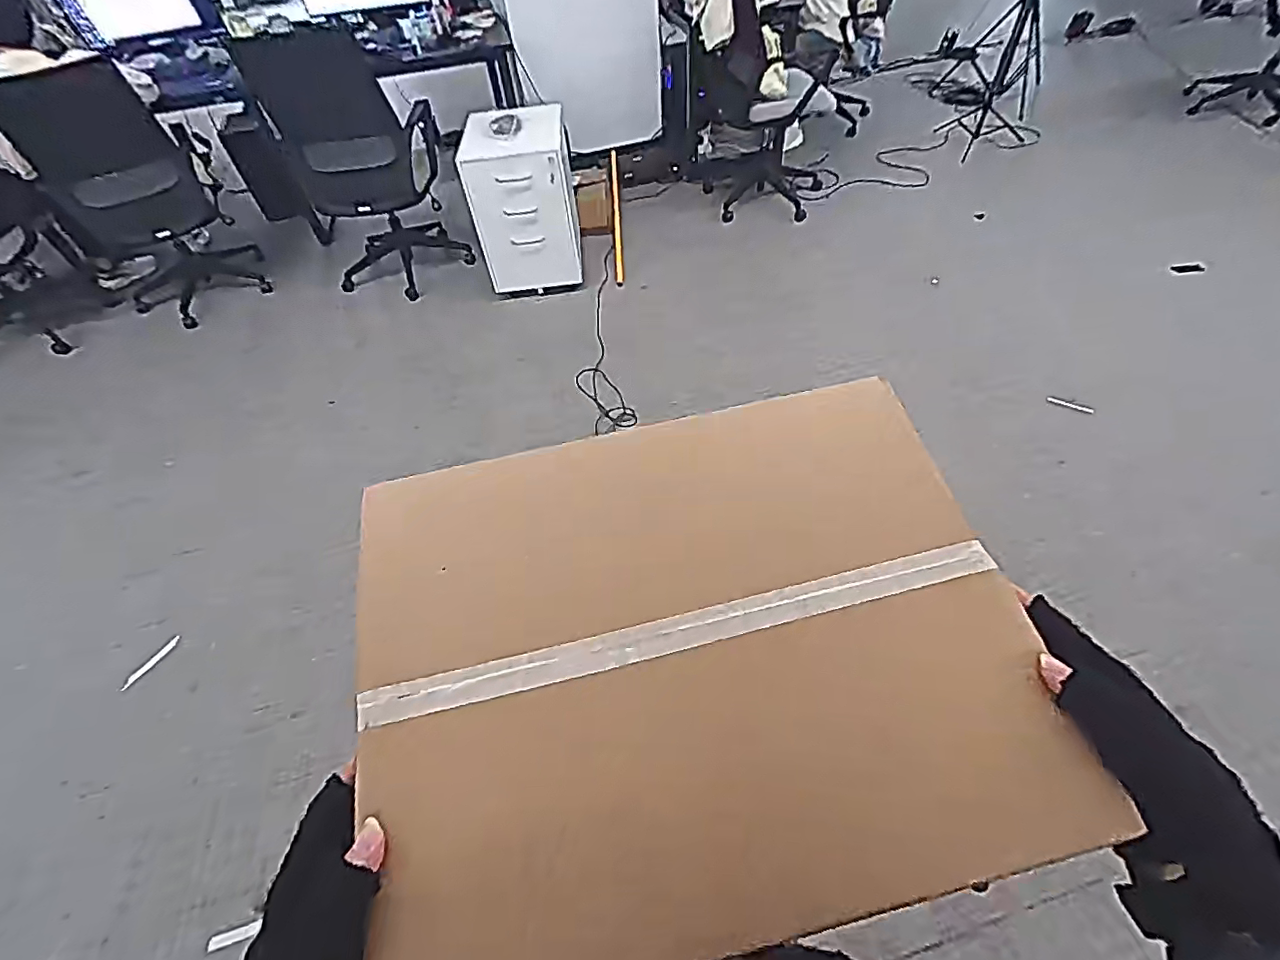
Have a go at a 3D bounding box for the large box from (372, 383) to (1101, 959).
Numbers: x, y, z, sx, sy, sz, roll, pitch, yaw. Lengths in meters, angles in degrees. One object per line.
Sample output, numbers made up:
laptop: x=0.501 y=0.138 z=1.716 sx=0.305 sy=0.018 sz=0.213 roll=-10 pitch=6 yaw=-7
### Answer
large box: x=0.037 y=0.166 z=0.480 sx=0.408 sy=0.320 sz=0.320 roll=-13 pitch=61 yaw=-4
